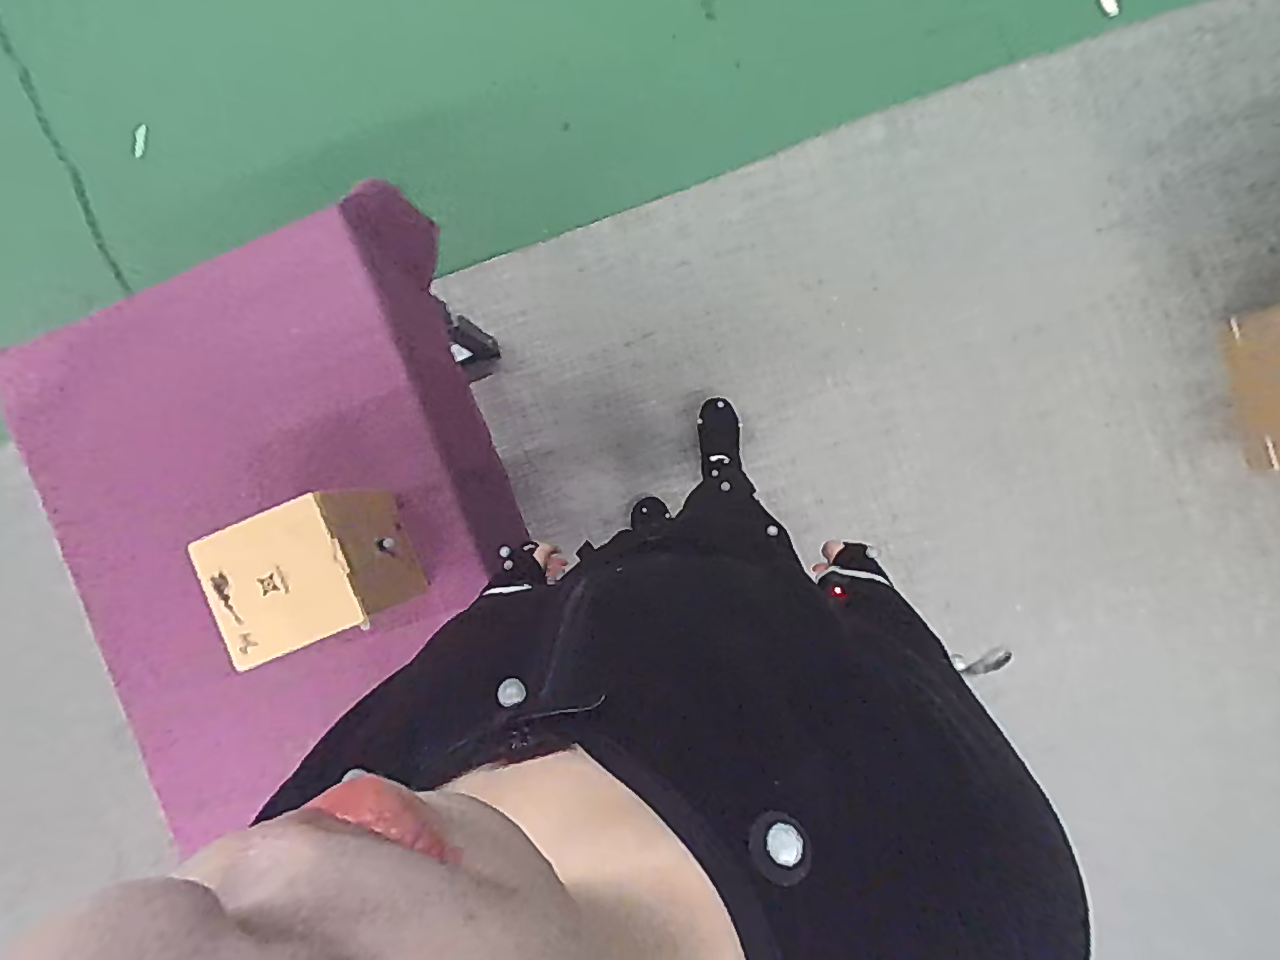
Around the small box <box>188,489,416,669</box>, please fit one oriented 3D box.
[{"bbox_3d":[-0.425,0.117,0.717,0.179,0.176,0.168,-22,90,3],"label":"small box"}]
